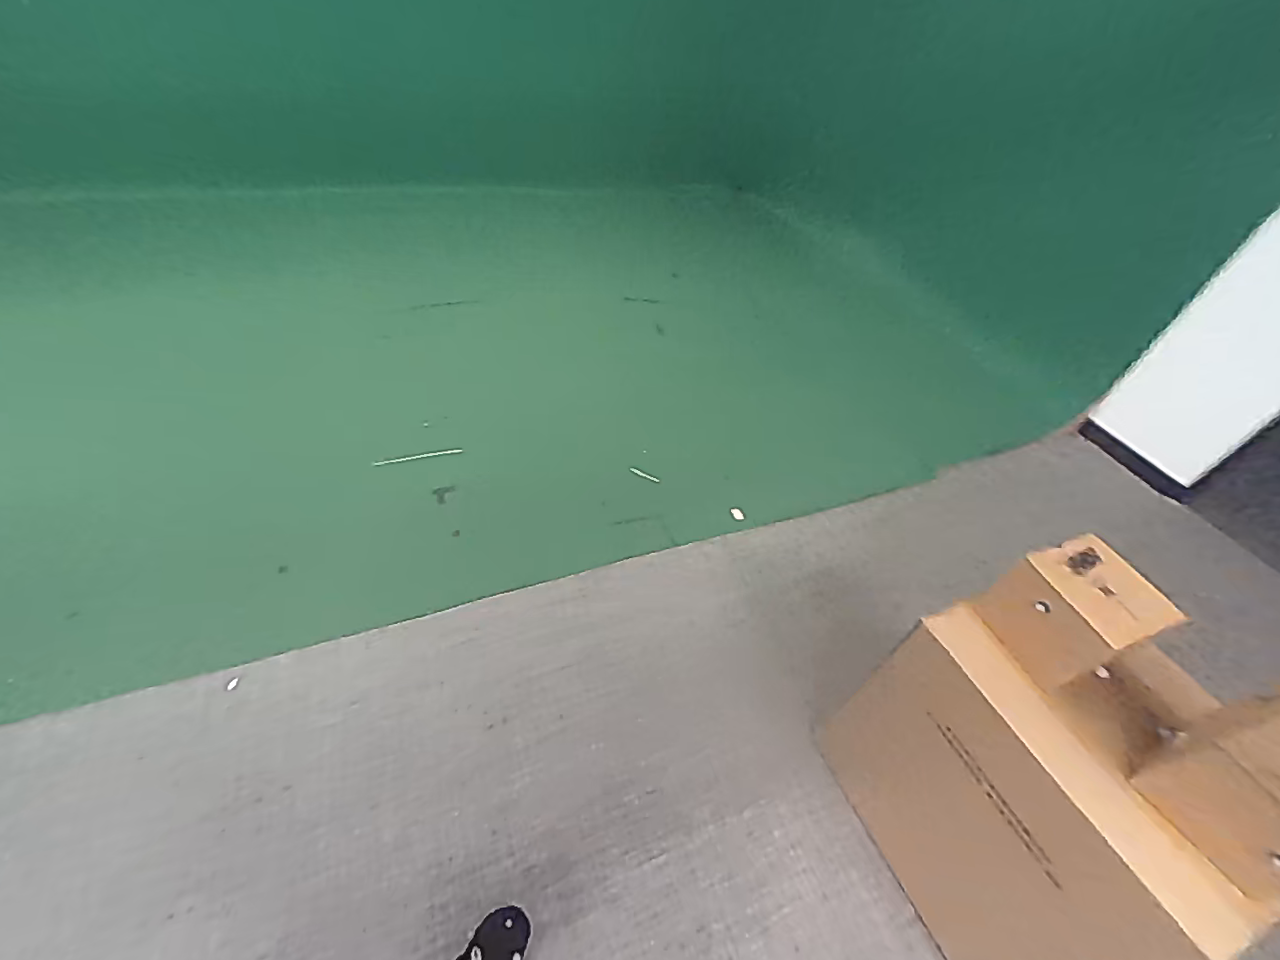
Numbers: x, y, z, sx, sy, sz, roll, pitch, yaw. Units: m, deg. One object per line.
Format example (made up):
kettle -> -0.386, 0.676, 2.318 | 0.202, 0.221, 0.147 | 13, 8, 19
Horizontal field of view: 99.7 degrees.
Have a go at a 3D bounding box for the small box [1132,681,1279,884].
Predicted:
small box -> 0.863, 0.422, 0.751 | 0.168, 0.176, 0.179 | -22, 52, -25

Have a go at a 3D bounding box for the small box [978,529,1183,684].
small box -> 0.734, 0.216, 0.927 | 0.168, 0.176, 0.179 | -14, 51, -16

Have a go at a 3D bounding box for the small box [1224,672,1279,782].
small box -> 0.870, 0.304, 0.637 | 0.179, 0.176, 0.168 | -19, 53, -22
